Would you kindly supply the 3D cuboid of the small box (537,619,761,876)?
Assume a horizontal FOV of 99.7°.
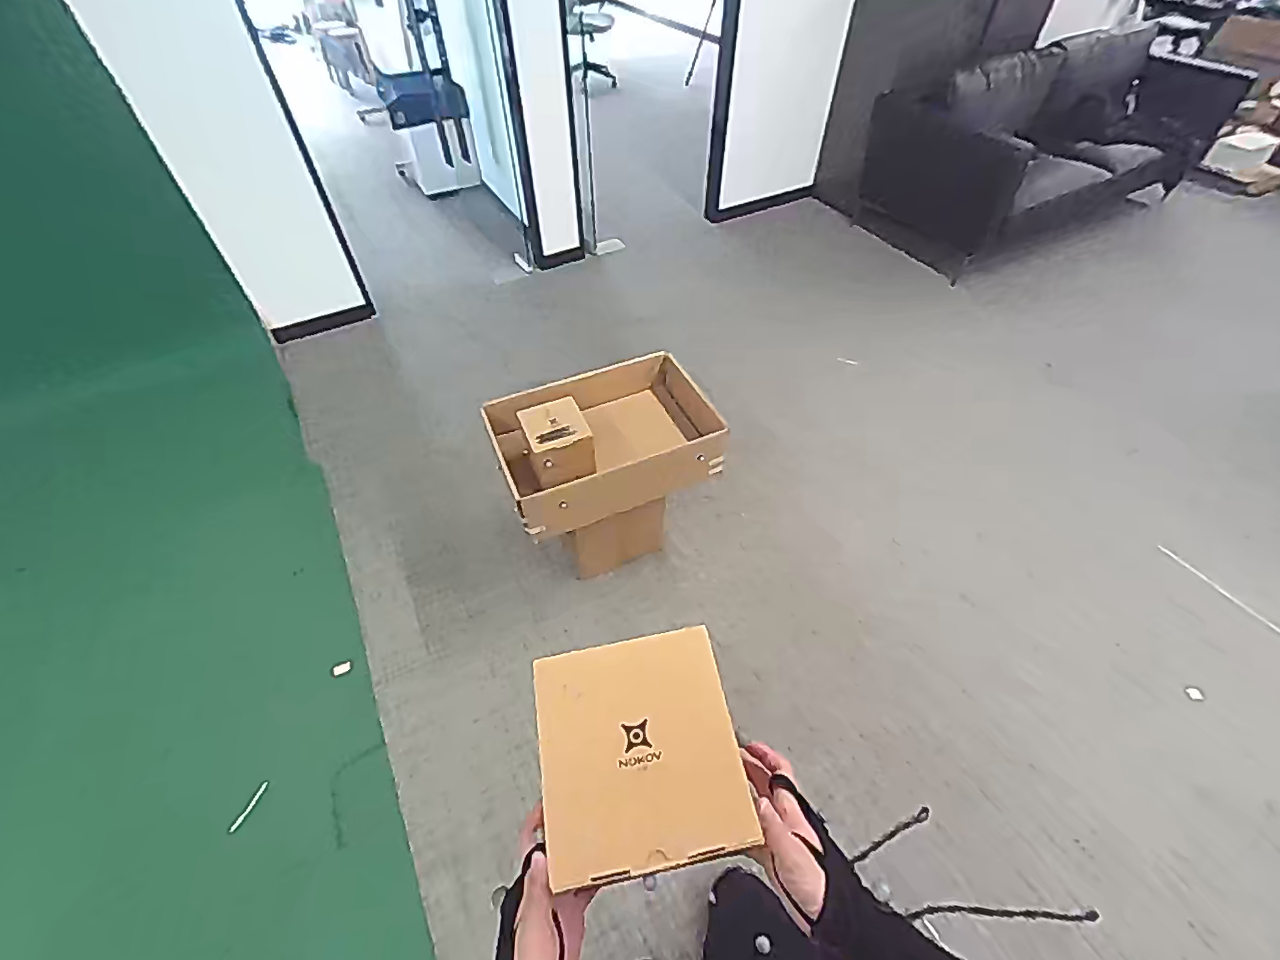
[{"bbox_3d":[0.002,0.258,0.519,0.168,0.176,0.179,-11,56,-3],"label":"small box"}]
